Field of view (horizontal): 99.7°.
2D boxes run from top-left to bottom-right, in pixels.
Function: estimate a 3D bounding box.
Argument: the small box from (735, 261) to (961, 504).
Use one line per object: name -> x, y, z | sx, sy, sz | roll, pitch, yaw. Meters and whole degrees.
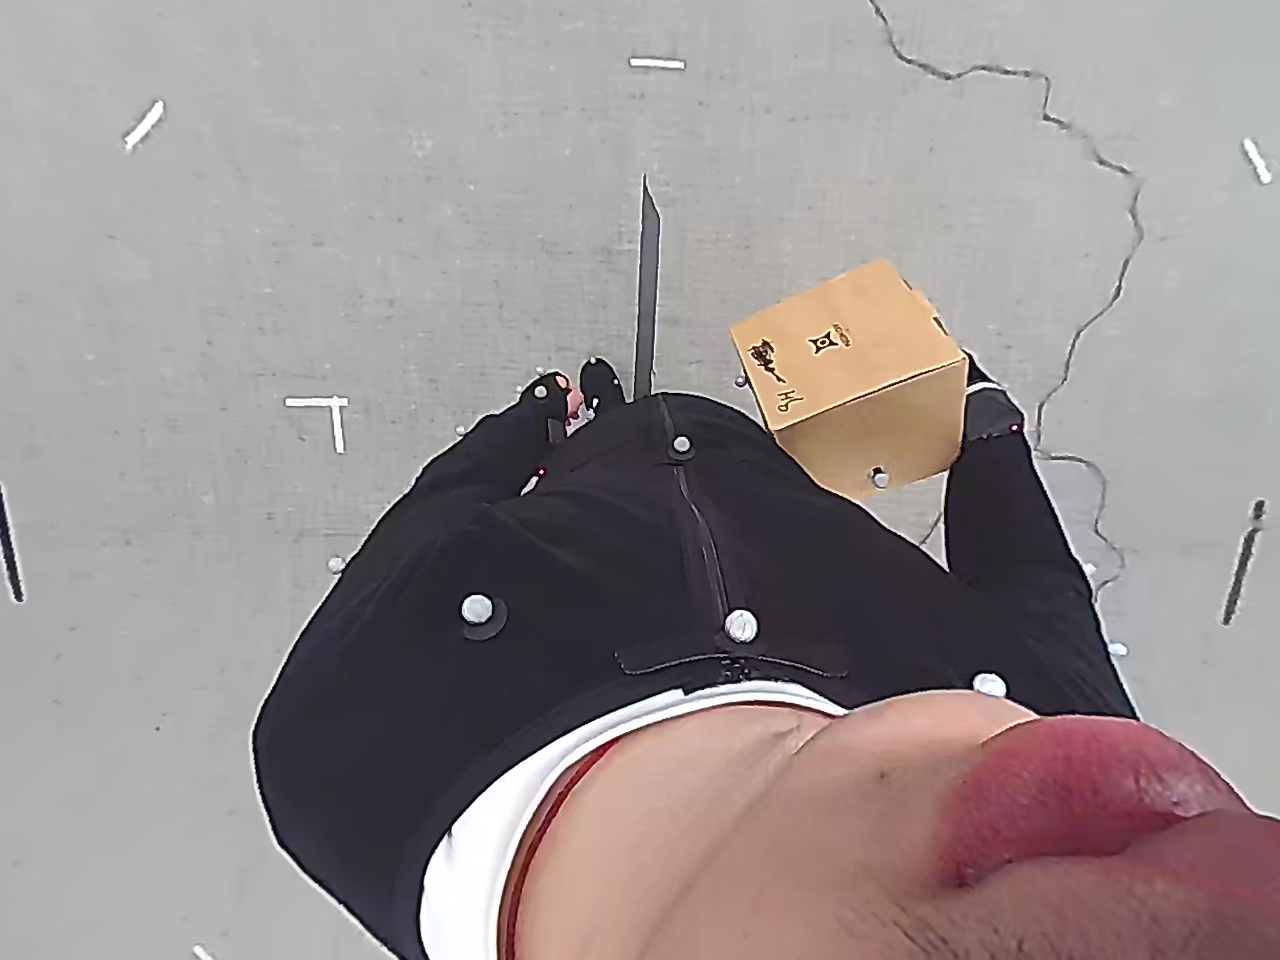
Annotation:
small box -> 0.226, -0.100, 0.605 | 0.179, 0.168, 0.176 | -20, 140, 13
